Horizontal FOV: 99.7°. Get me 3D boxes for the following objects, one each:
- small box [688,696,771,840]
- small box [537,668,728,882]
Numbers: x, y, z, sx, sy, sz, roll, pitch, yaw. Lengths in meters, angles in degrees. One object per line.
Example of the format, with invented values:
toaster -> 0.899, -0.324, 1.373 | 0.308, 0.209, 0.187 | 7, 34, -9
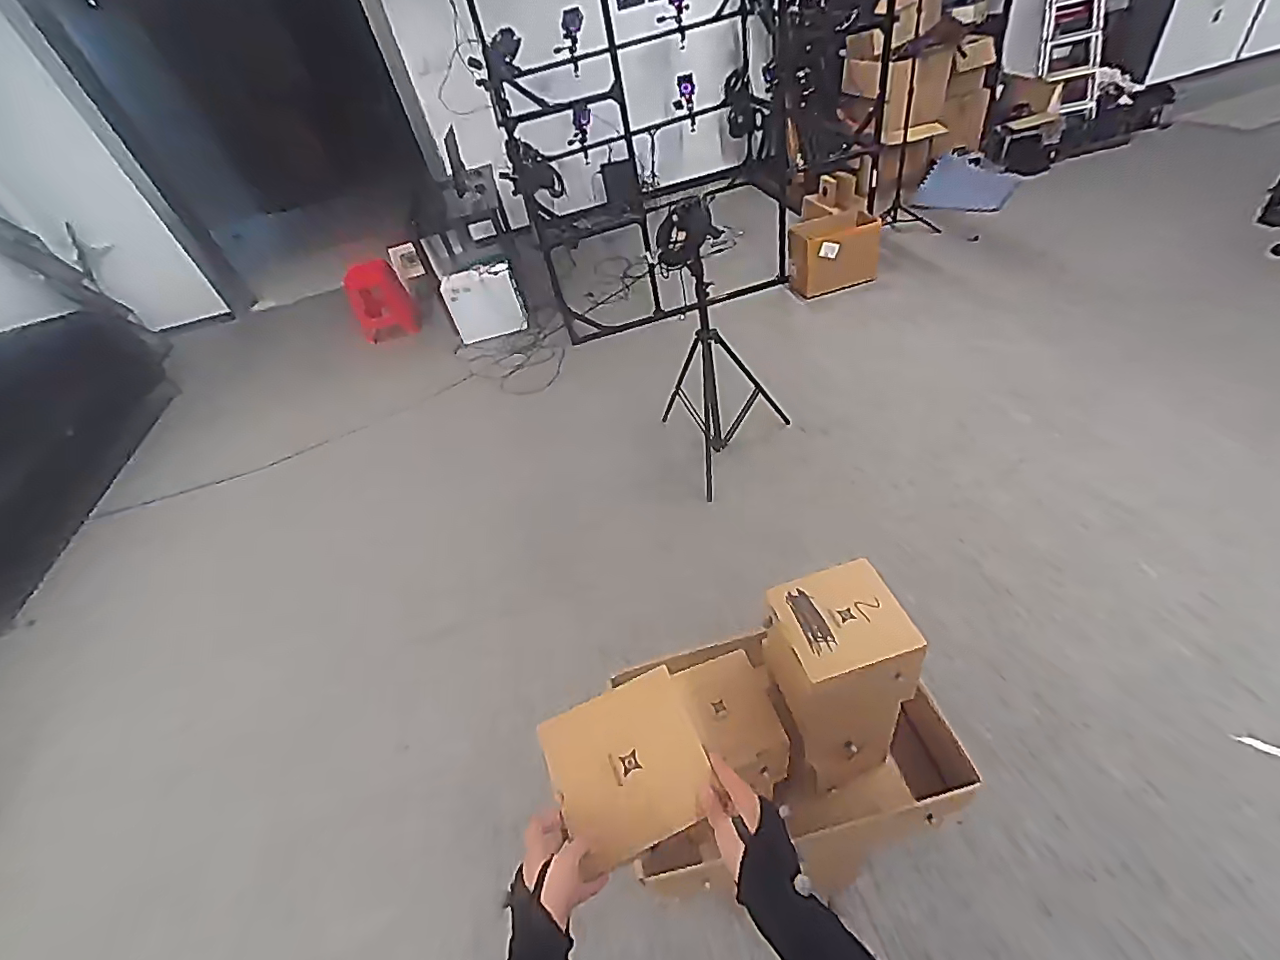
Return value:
small box -> 0.145, 0.566, 1.062 | 0.168, 0.176, 0.179 | -19, 42, -5
small box -> -0.004, 0.363, 0.679 | 0.179, 0.176, 0.168 | -25, 58, -5
